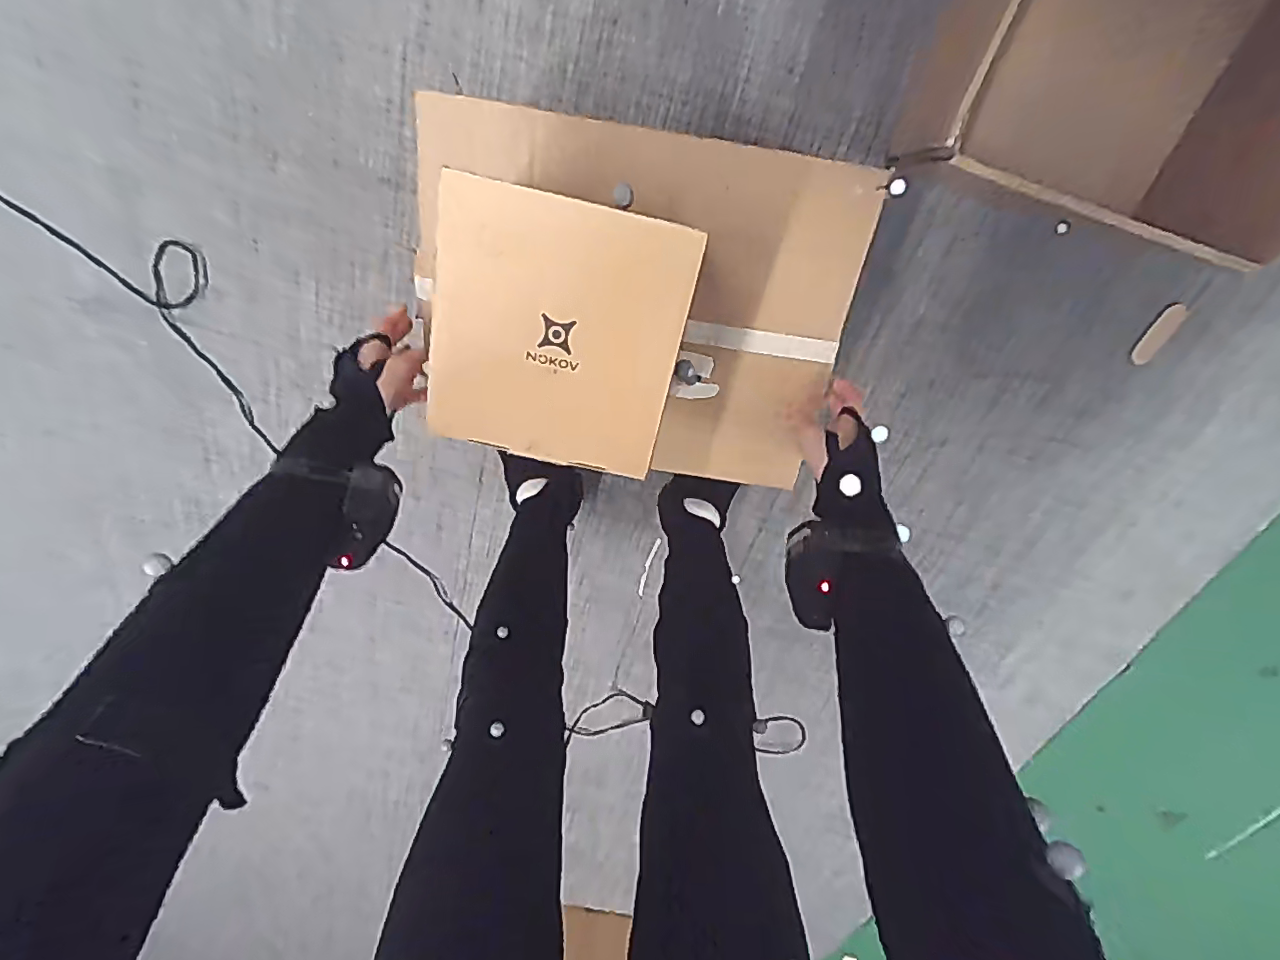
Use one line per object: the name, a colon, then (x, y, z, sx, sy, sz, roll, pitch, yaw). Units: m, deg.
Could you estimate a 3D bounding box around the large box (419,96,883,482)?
large box: (-0.005, -0.222, 0.653, 0.408, 0.320, 0.320, 8, 117, -3)
